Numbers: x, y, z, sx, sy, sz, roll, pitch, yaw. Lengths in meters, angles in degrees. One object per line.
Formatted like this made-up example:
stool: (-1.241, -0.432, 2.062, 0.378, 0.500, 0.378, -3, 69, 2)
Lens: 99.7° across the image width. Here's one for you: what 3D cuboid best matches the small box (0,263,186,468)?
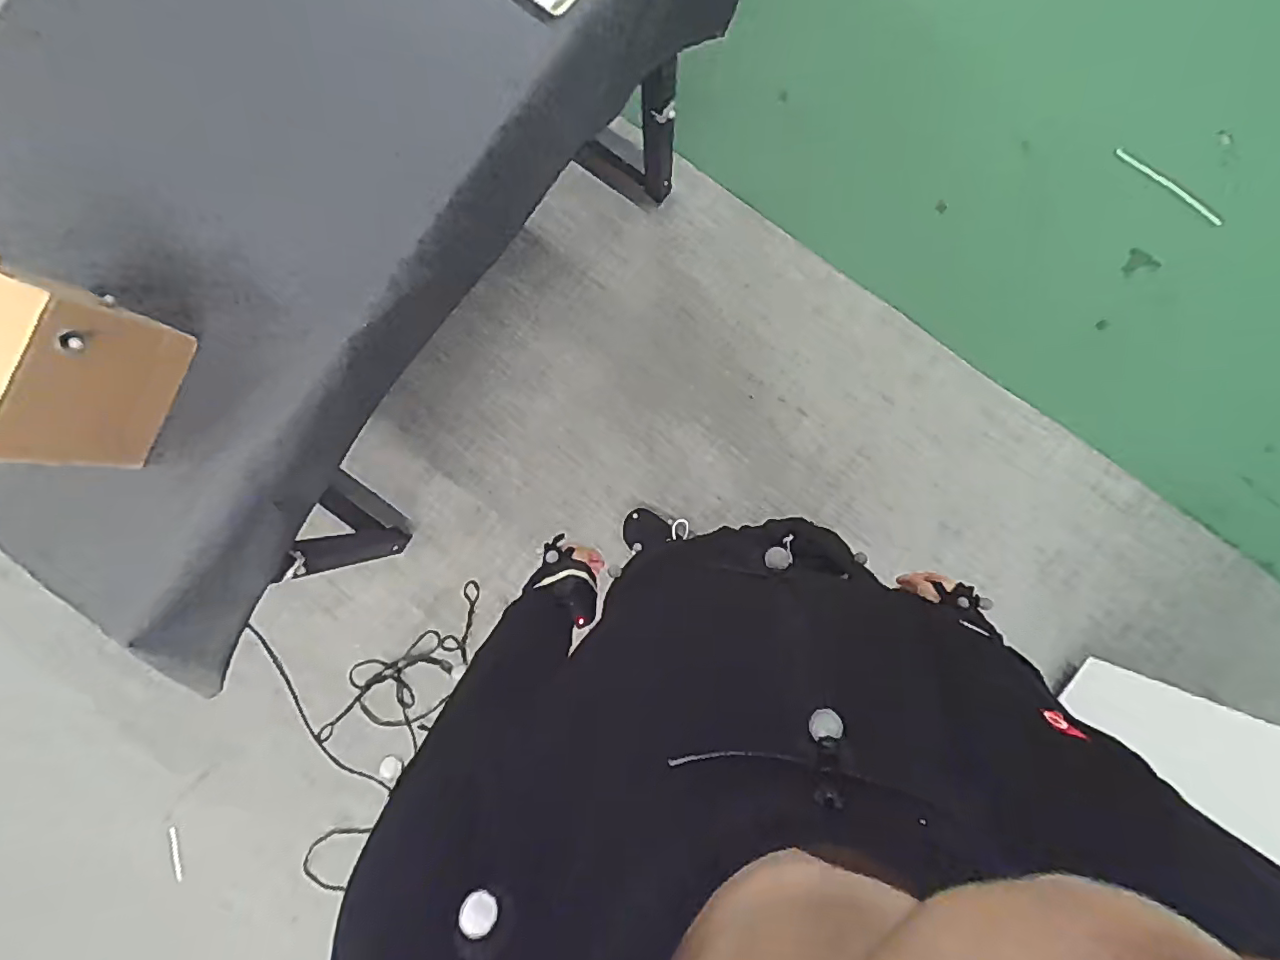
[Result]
small box: (-0.653, -0.123, 0.582, 0.168, 0.176, 0.179, 23, 88, 3)
